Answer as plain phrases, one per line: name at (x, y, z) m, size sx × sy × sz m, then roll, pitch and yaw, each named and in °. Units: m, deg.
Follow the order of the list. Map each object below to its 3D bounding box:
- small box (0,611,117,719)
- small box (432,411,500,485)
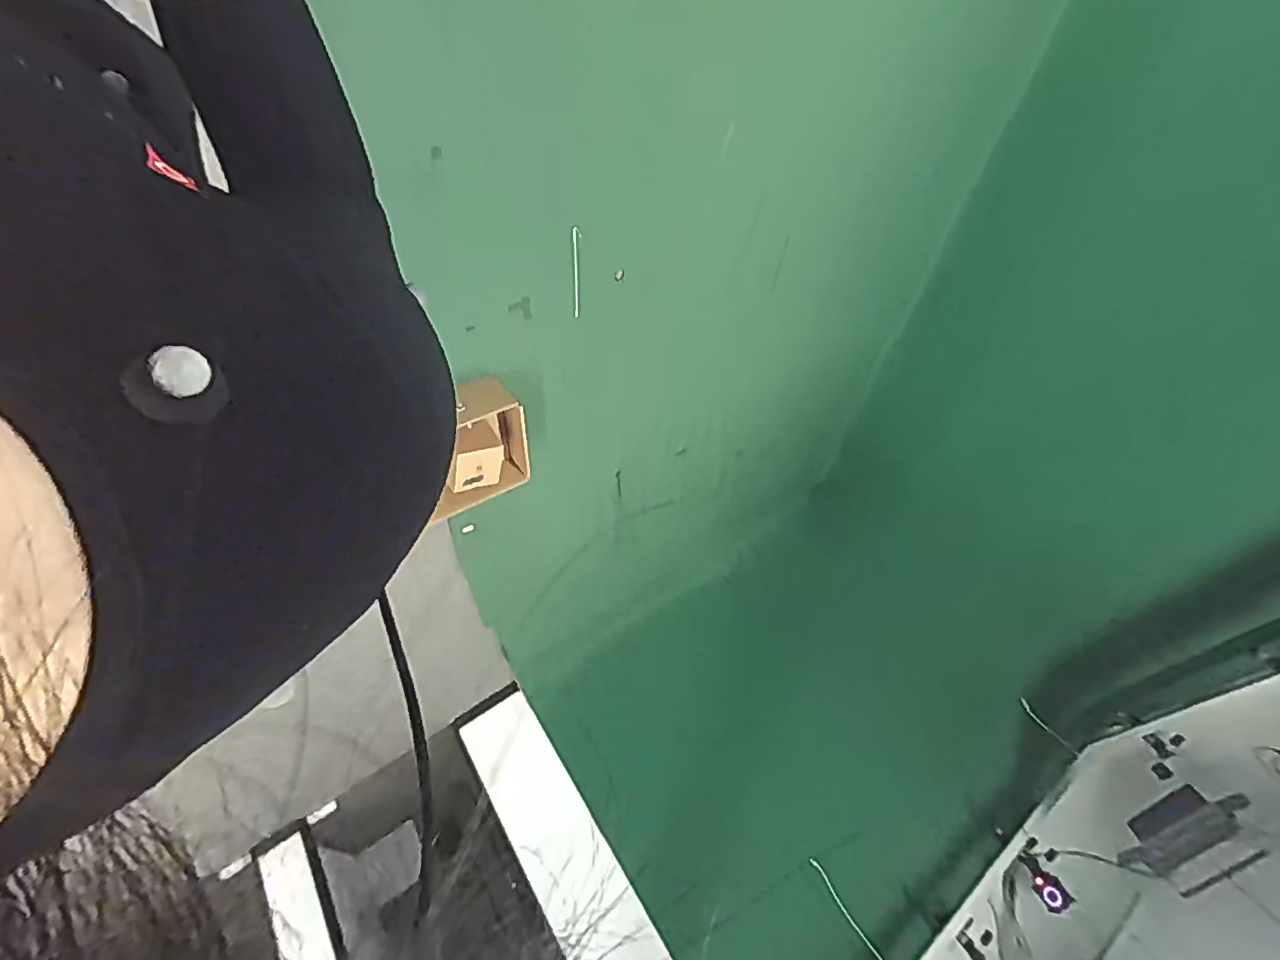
small box at (-1.436, 0.445, 1.331) m, size 0.168 × 0.176 × 0.179 m, roll -18°, pitch 143°, yaw -31°
small box at (-0.600, -0.113, 1.852) m, size 0.168 × 0.176 × 0.179 m, roll -16°, pitch 143°, yaw -37°
